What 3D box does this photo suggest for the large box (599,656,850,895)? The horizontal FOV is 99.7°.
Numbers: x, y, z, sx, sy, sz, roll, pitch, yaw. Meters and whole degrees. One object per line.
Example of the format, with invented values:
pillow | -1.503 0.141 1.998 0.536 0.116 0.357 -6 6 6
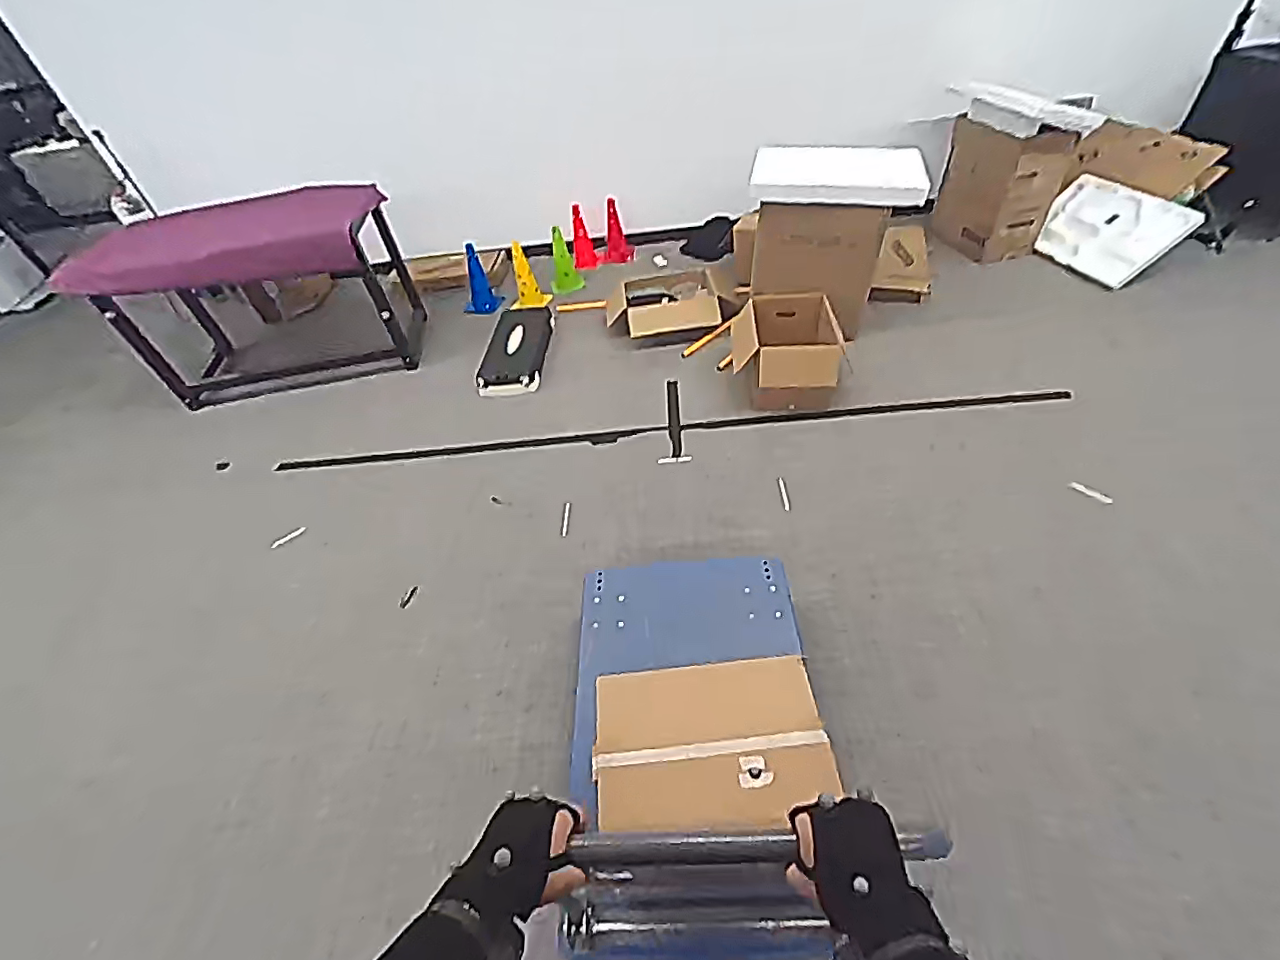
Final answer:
large box | 0.139 0.583 1.067 0.408 0.320 0.320 -7 46 0
